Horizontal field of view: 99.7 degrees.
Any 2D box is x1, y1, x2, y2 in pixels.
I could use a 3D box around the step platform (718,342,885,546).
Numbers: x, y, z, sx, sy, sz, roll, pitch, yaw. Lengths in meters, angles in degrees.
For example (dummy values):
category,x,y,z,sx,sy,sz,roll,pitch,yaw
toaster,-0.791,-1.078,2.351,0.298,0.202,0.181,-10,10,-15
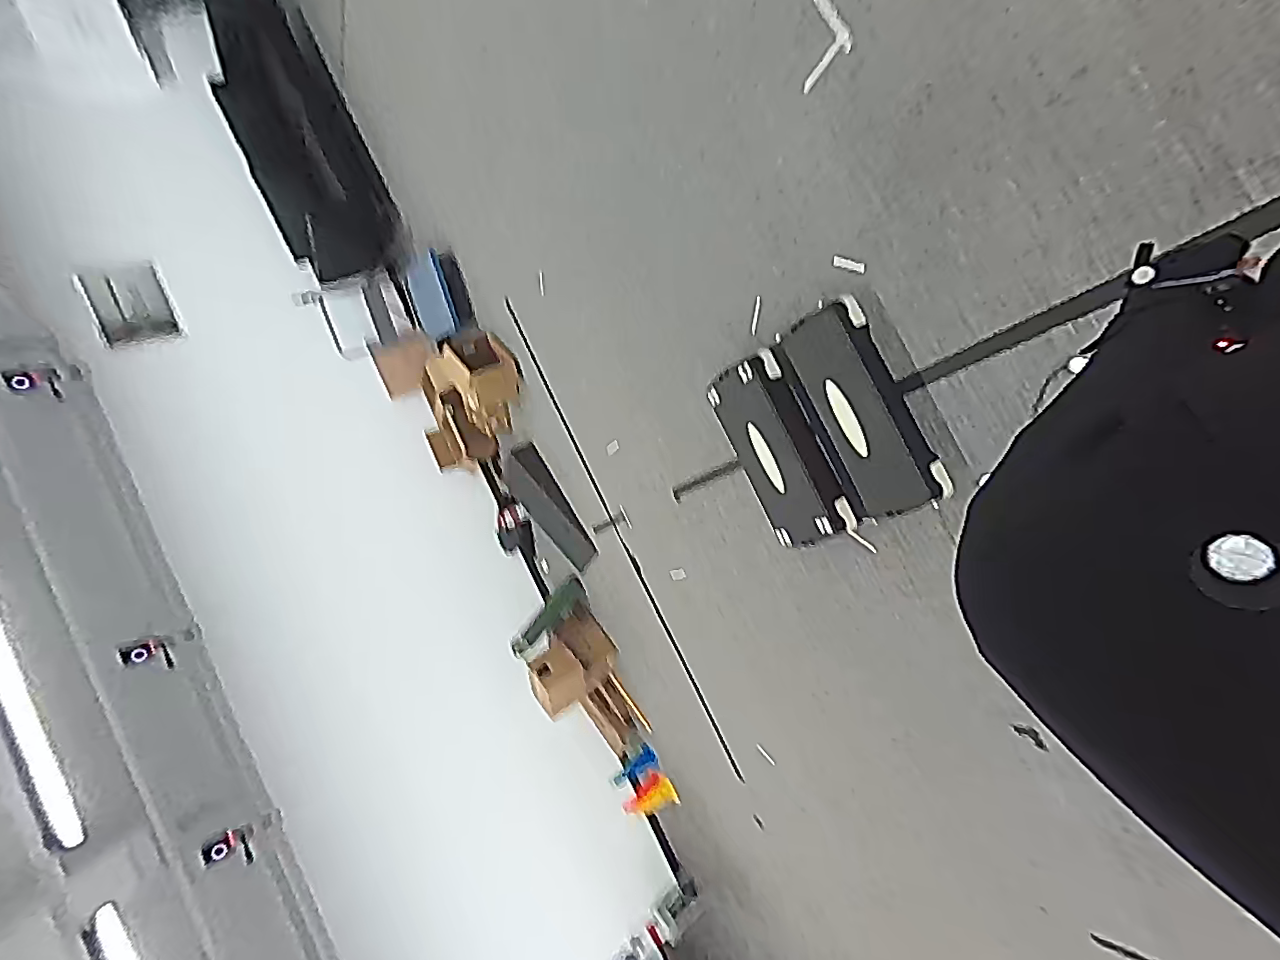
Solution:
category,x,y,z,sx,sy,sz,roll,pitch,yaw
step platform,0.537,-0.111,1.856,0.684,0.204,0.286,64,150,5
